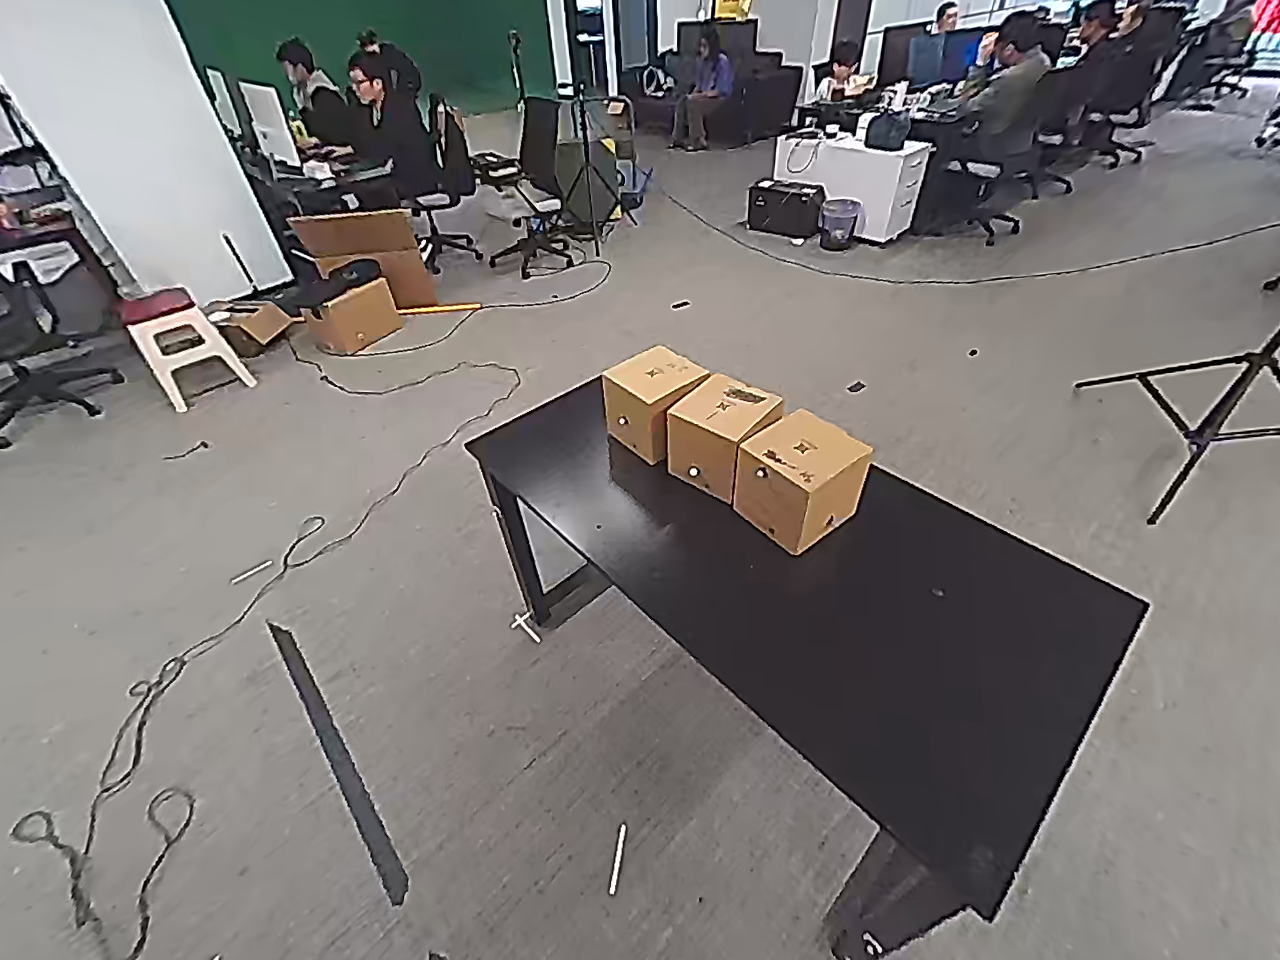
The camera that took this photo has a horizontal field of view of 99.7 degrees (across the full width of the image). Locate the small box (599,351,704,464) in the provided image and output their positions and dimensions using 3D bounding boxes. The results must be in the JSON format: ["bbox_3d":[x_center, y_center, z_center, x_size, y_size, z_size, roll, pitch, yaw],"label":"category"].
[{"bbox_3d":[0.031,-0.163,1.230,0.179,0.176,0.168,-31,49,-27],"label":"small box"}]
